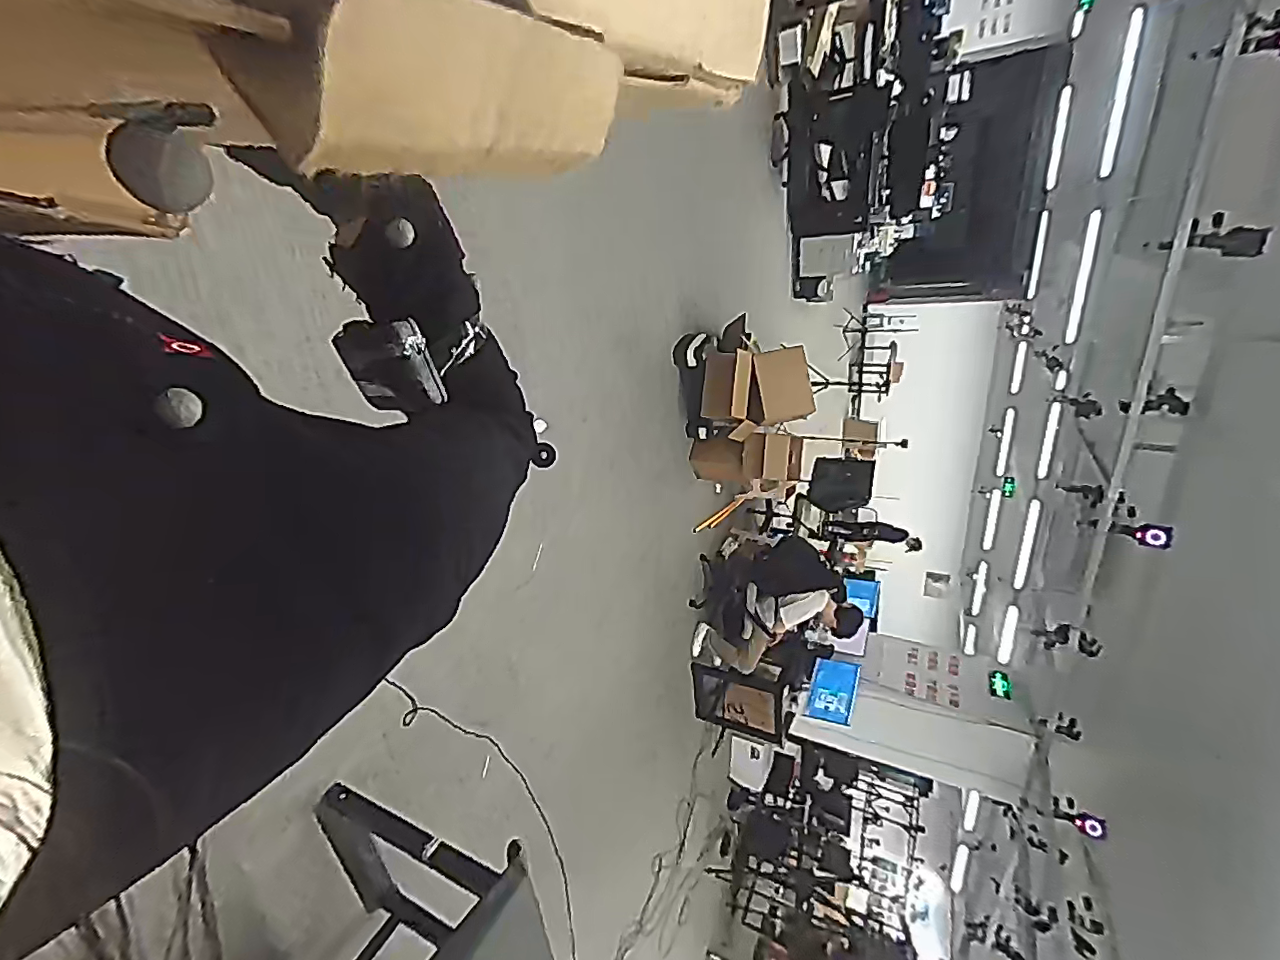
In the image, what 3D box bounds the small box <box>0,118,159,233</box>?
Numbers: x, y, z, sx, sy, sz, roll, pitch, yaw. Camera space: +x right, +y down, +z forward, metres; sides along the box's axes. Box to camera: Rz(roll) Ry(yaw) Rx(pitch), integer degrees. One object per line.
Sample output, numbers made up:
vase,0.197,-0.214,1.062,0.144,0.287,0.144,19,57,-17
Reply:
small box,-0.246,-0.167,0.117,0.168,0.176,0.179,-16,116,-60
